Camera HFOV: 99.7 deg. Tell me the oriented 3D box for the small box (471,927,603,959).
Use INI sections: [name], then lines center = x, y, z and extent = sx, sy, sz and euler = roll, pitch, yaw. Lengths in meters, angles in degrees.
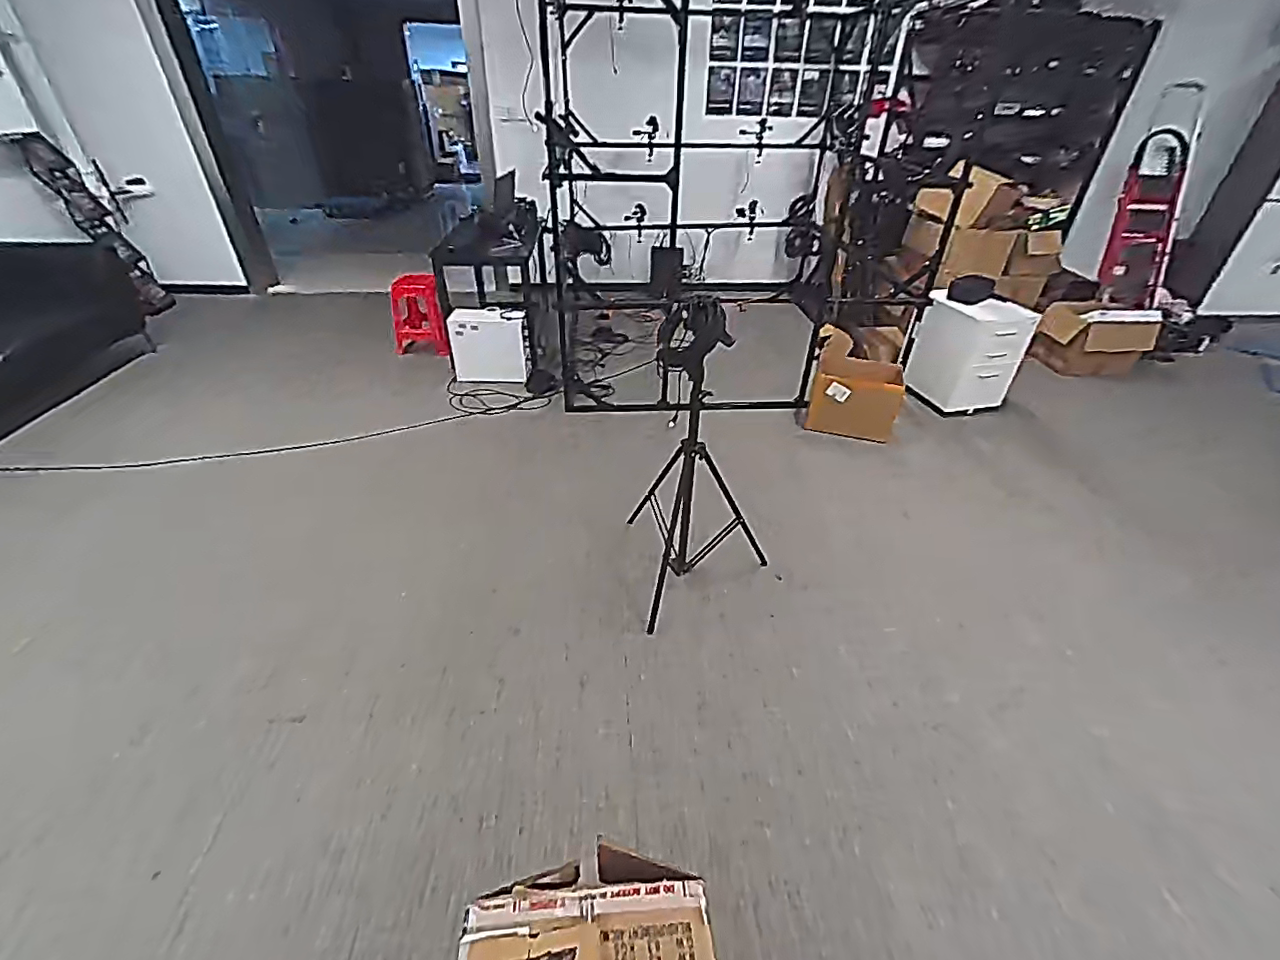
[small box]
center = -0.126, 0.699, 0.676
extent = 0.168, 0.176, 0.179
euler = -3, 39, -5
